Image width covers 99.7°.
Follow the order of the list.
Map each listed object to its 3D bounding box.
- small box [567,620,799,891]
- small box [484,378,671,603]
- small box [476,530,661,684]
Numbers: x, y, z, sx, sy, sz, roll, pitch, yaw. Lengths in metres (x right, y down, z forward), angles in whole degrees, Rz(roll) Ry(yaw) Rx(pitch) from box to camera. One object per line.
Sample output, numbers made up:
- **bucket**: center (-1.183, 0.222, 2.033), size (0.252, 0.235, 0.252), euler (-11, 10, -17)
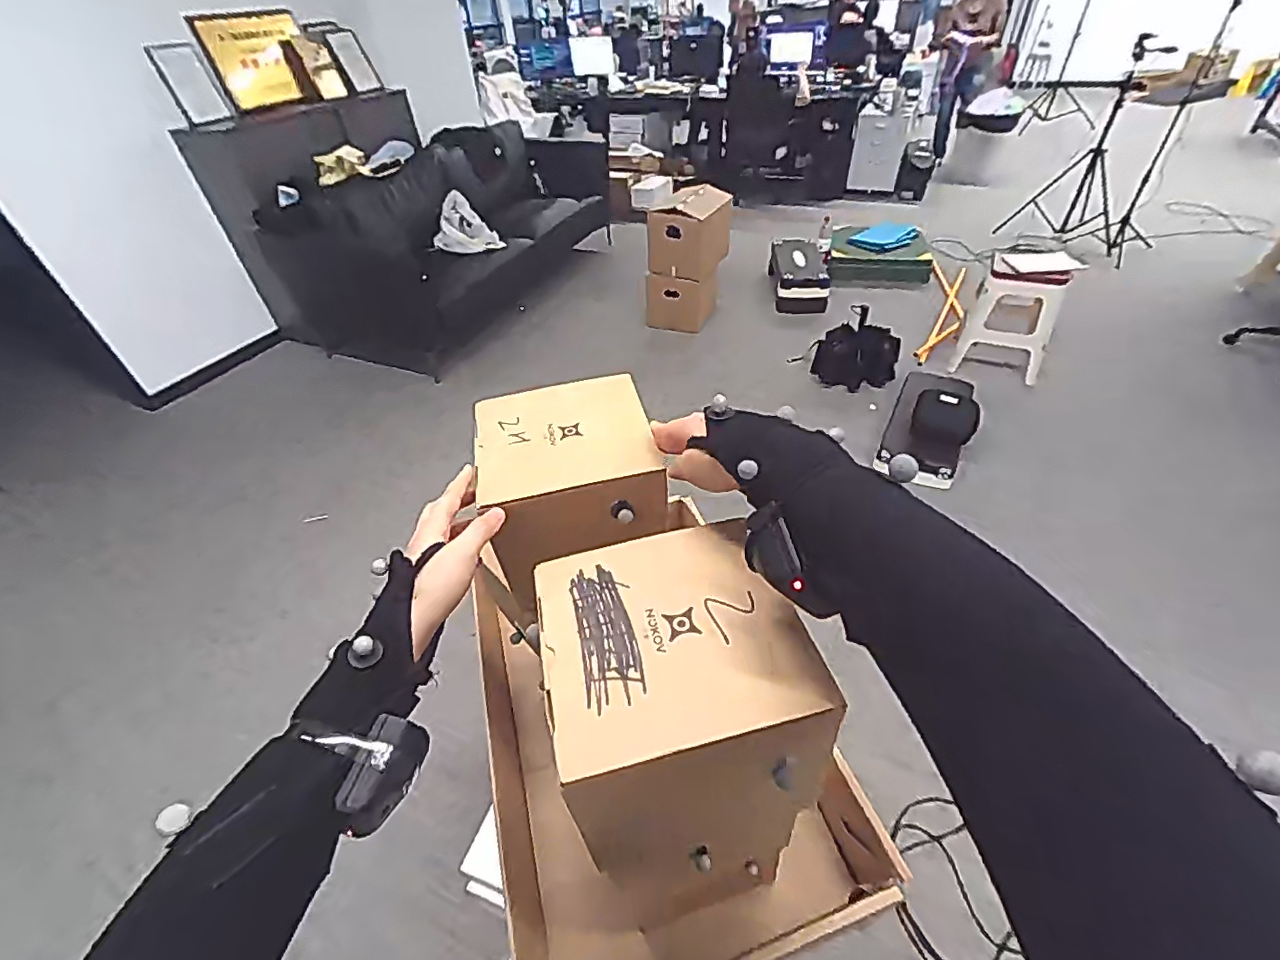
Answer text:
- **small box**: center (0.037, 0.276, 0.547), size (0.179, 0.176, 0.168), euler (-15, 41, -8)
- **small box**: center (-0.067, 0.013, 0.609), size (0.179, 0.176, 0.168), euler (-12, 43, -6)
- **small box**: center (-0.084, 0.133, 0.725), size (0.179, 0.176, 0.168), euler (-36, 50, -26)
